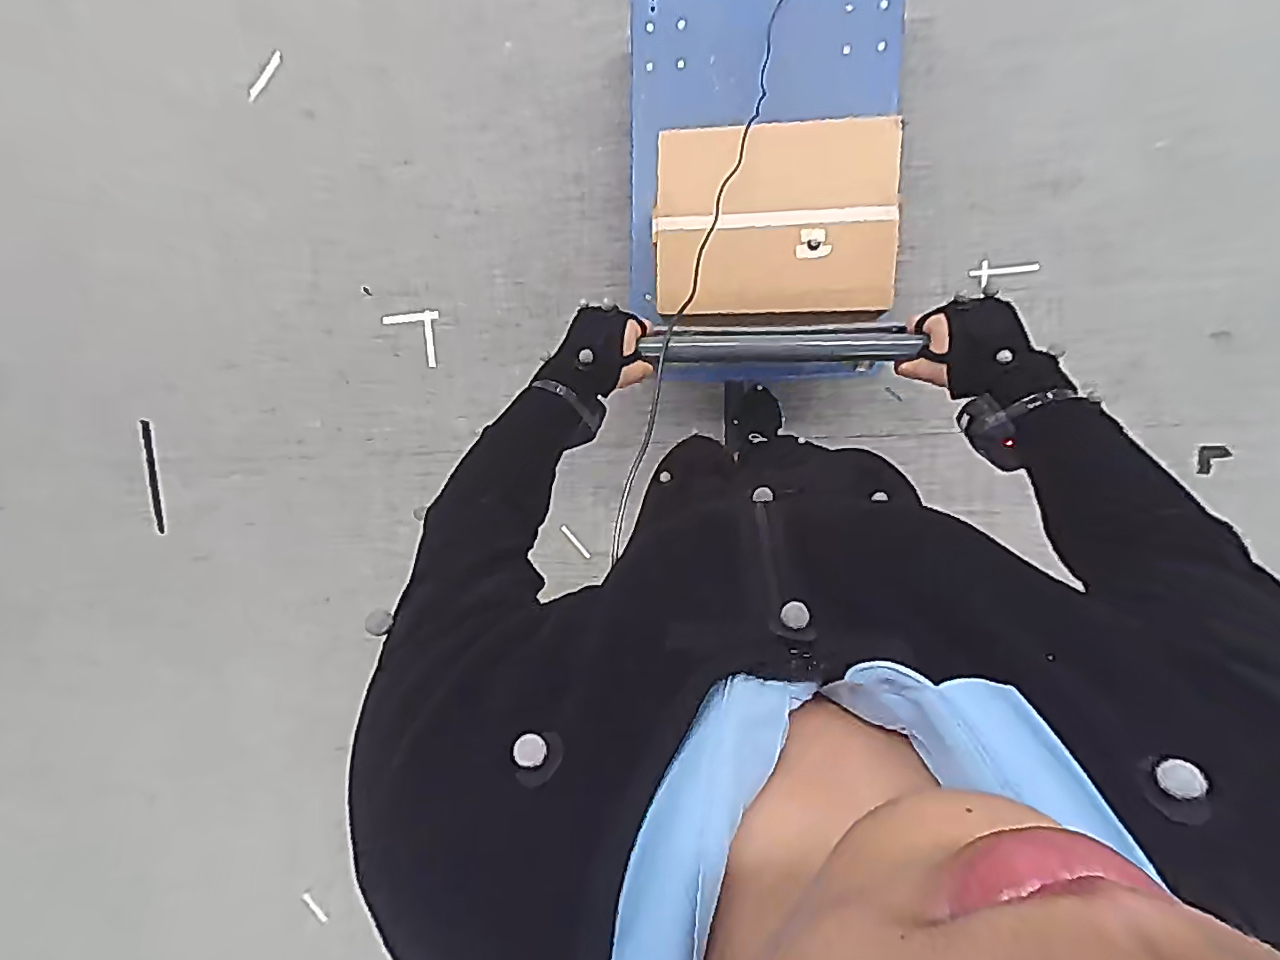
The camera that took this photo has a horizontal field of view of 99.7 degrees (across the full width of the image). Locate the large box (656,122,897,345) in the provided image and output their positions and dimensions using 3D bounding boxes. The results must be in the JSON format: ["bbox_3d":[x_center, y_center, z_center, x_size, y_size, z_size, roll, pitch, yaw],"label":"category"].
[{"bbox_3d":[0.244,-0.450,1.071,0.408,0.320,0.320,1,97,7],"label":"large box"}]
